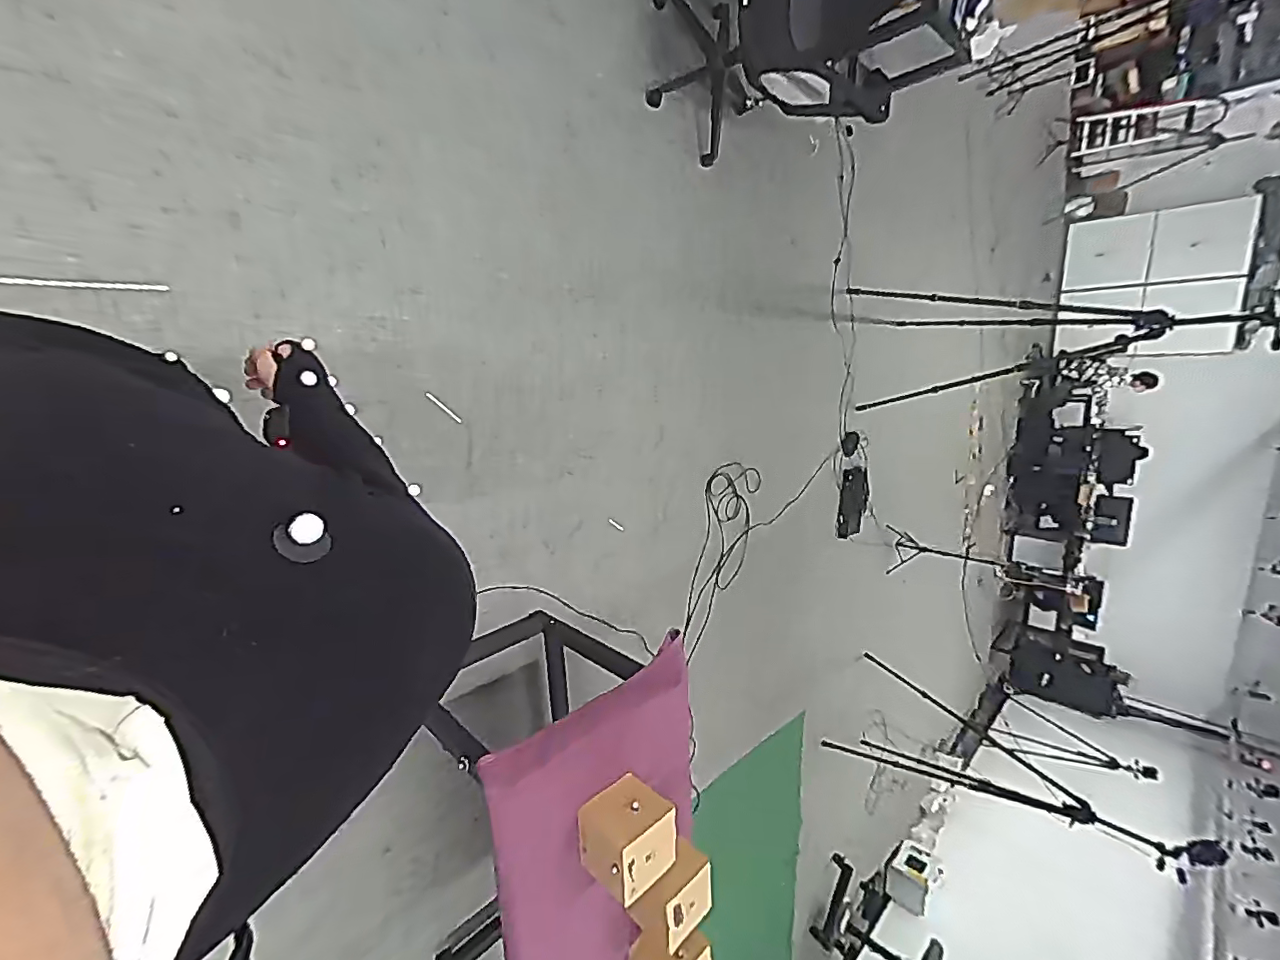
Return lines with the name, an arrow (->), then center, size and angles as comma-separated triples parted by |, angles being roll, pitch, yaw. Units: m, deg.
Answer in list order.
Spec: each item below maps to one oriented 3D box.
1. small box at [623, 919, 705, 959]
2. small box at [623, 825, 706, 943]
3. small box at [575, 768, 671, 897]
small box -> 0.070, 1.373, 1.553 | 0.179, 0.176, 0.168 | -15, 107, -41
small box -> 0.062, 1.095, 1.491 | 0.179, 0.176, 0.168 | -15, 108, -43
small box -> -0.042, 0.860, 1.343 | 0.179, 0.176, 0.168 | -13, 107, -43
